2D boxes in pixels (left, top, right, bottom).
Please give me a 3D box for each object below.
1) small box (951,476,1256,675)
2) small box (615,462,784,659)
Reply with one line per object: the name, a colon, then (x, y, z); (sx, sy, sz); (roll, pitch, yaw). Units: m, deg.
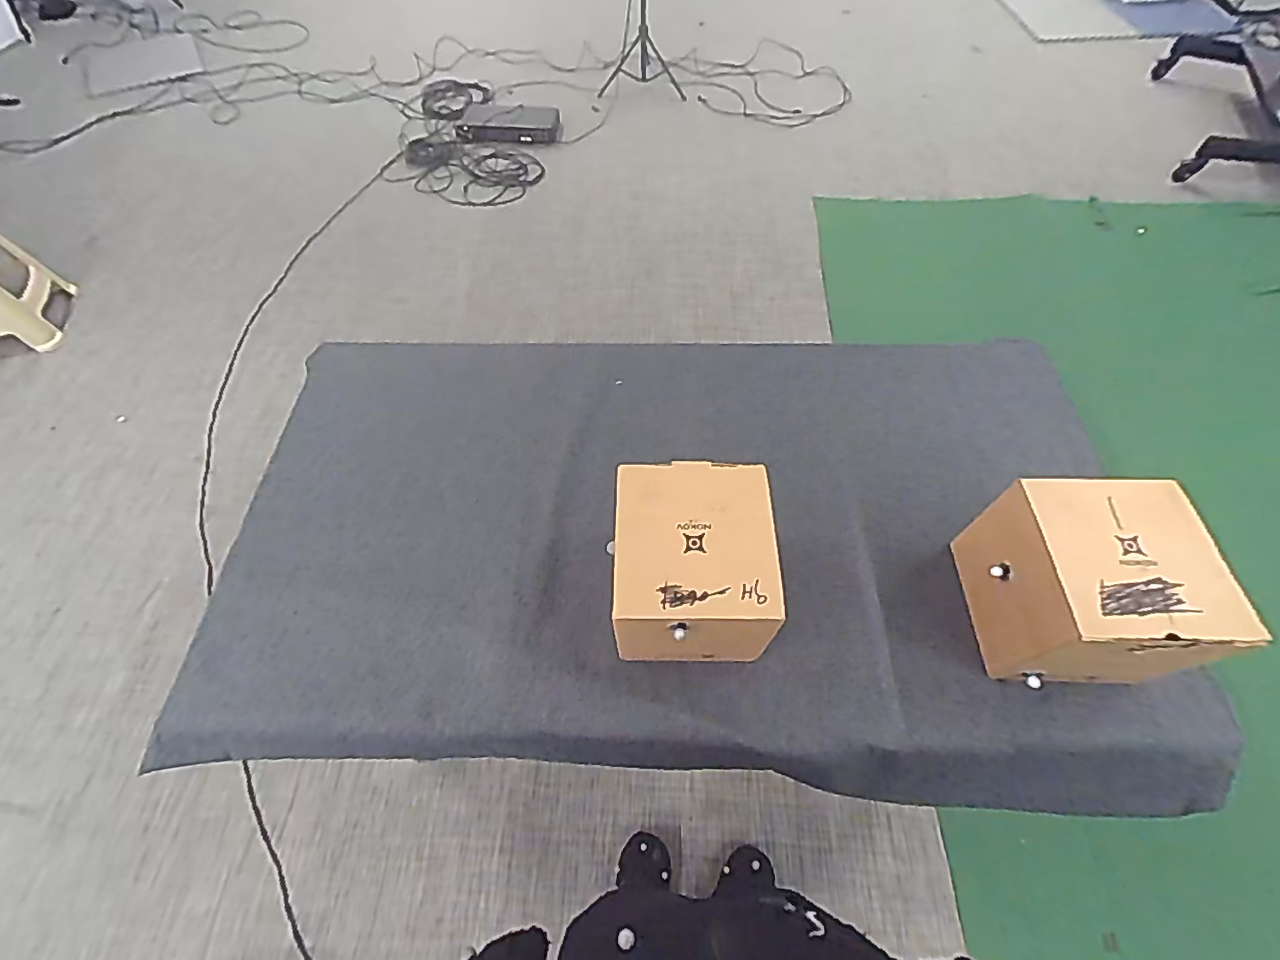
small box: (0.485, 0.113, 0.605); (0.168, 0.176, 0.179); (1, 58, 3)
small box: (0.059, 0.097, 0.628); (0.168, 0.176, 0.179); (0, 58, 2)
